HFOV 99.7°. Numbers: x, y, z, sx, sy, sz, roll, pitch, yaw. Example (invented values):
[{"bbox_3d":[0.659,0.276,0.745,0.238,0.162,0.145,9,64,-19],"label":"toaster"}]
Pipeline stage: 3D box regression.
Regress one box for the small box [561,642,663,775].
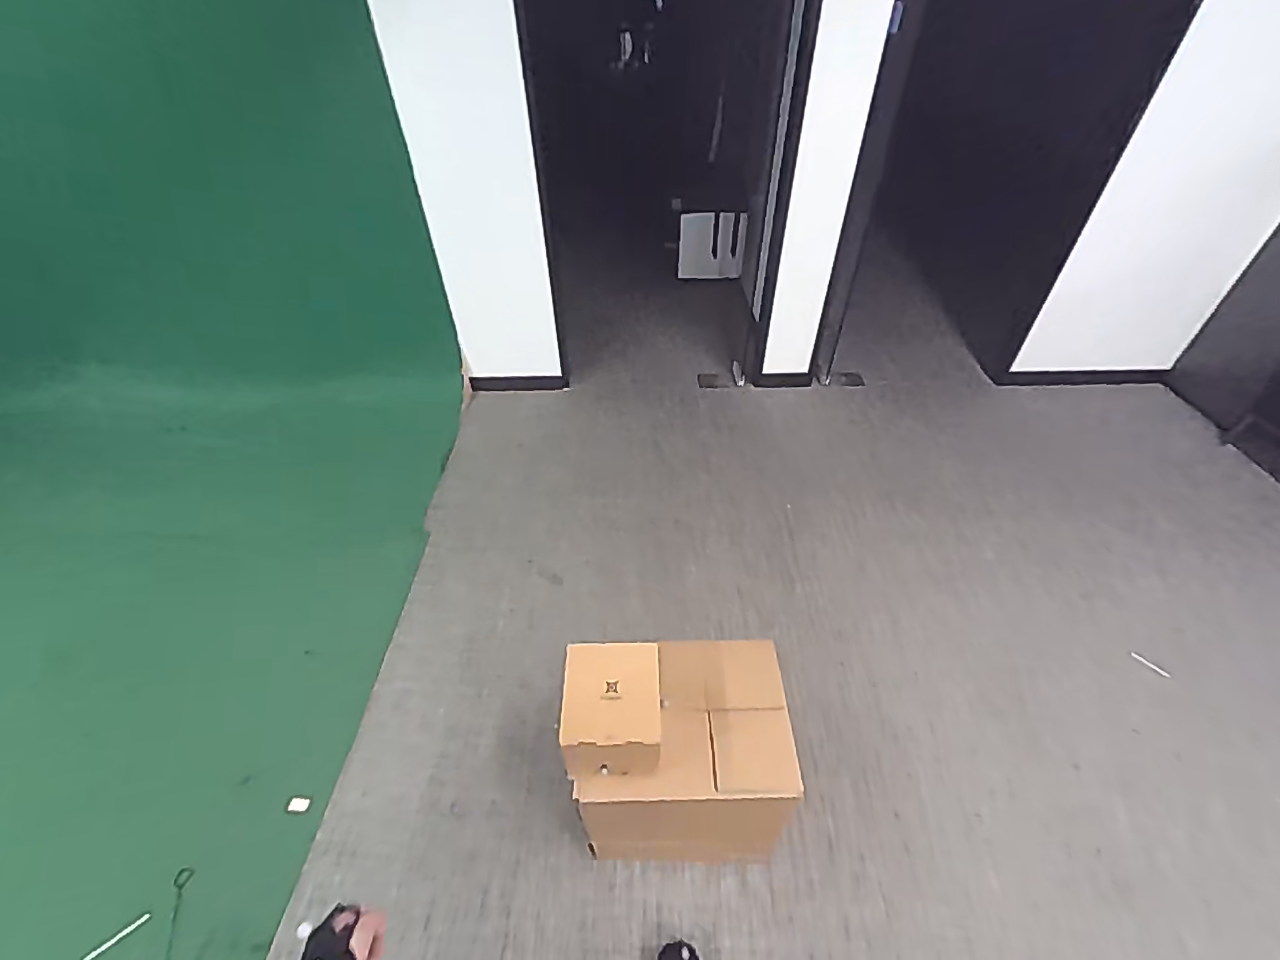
[{"bbox_3d":[-0.047,0.411,0.974,0.168,0.176,0.179,0,46,-1],"label":"small box"}]
